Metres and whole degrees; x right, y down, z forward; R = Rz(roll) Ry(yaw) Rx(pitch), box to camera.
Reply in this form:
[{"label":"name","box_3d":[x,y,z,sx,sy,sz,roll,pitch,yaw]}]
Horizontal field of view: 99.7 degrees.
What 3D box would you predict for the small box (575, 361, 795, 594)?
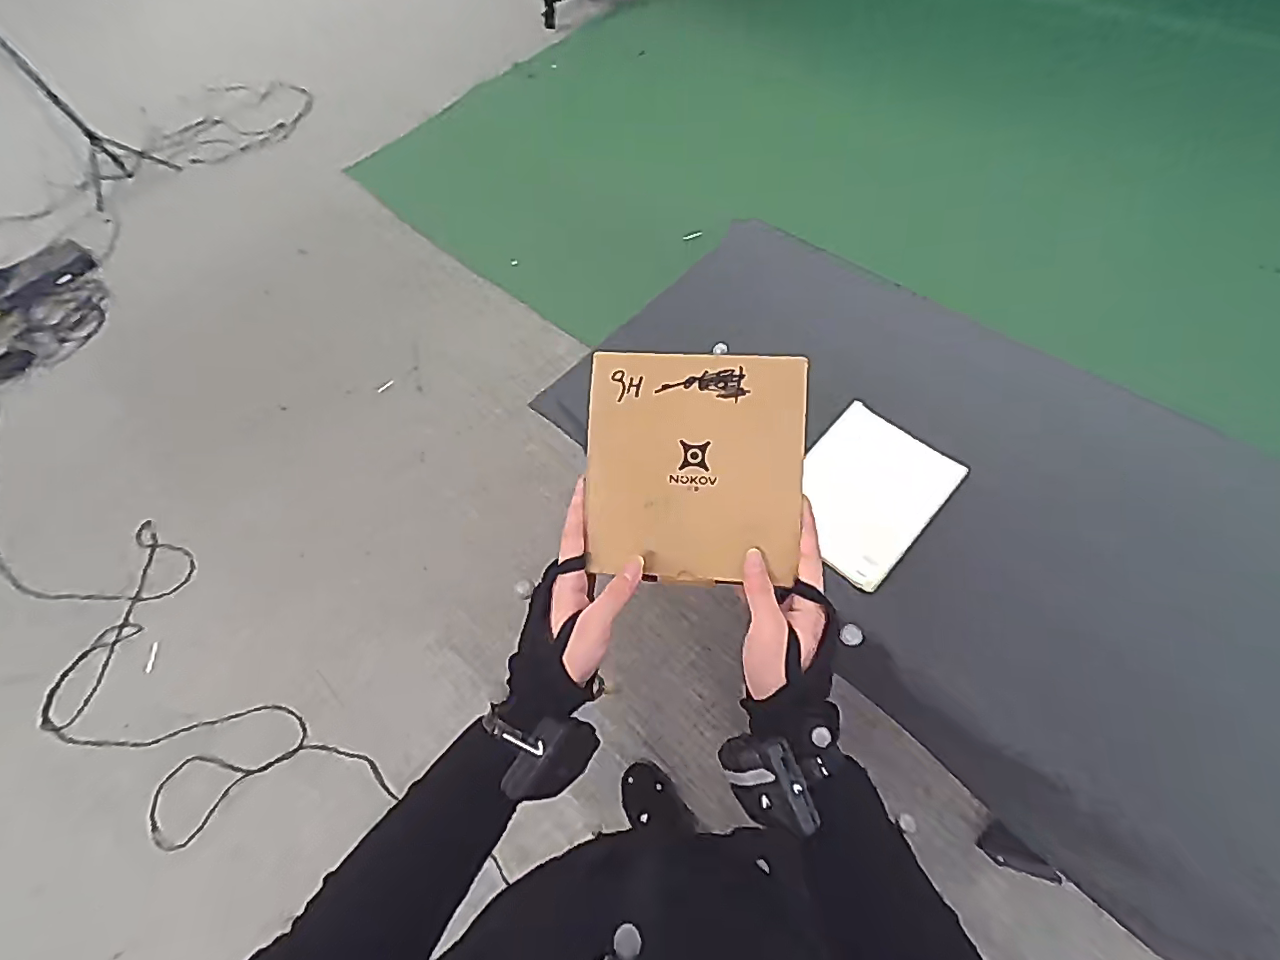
[{"label":"small box","box_3d":[0.042,-0.004,0.498,0.168,0.176,0.179,2,90,5]}]
